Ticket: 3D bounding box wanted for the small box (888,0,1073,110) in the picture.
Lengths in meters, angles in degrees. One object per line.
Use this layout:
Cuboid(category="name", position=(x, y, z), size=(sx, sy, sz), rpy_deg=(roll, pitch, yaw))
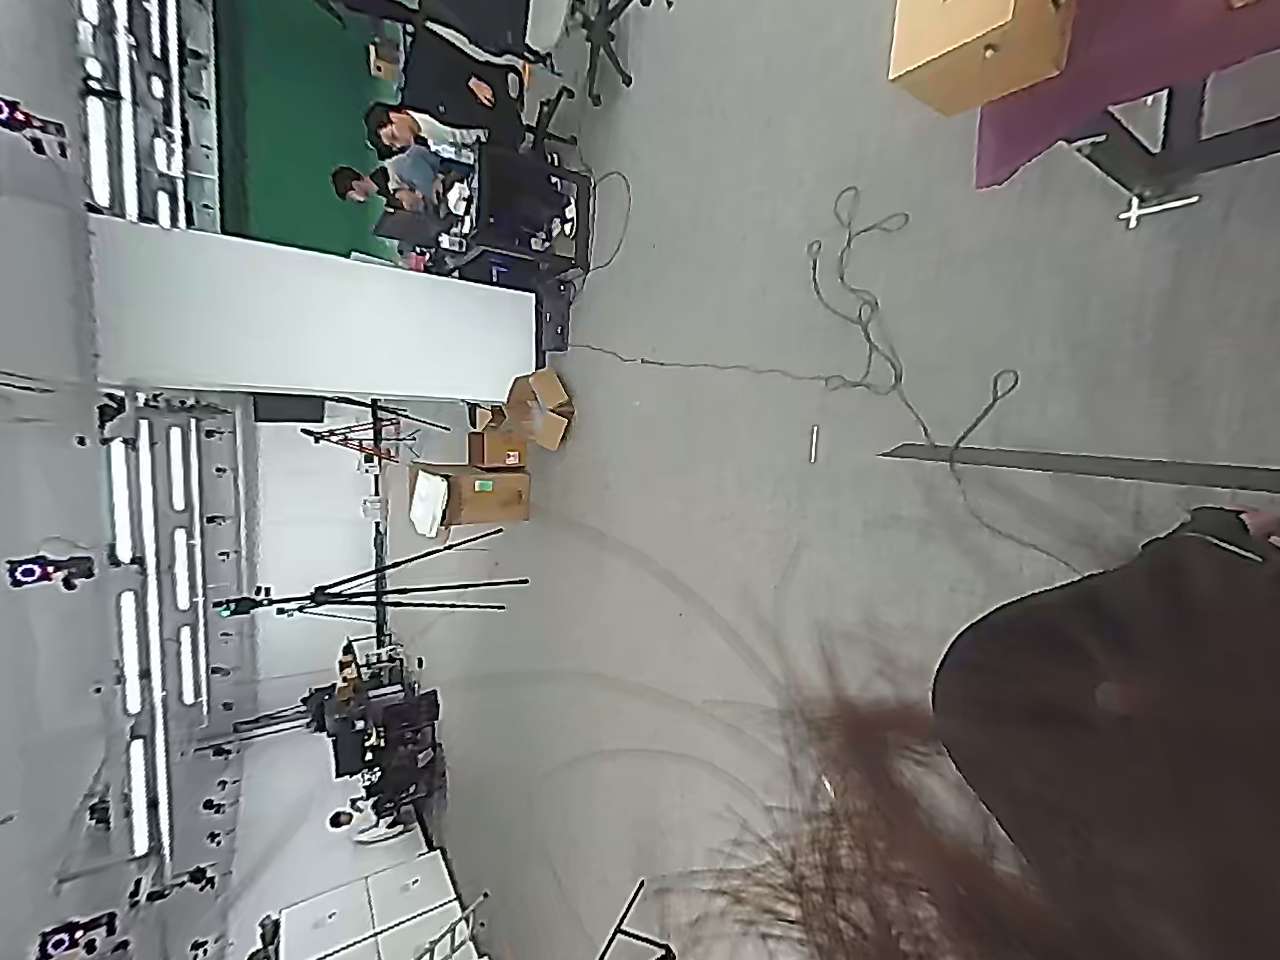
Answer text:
Cuboid(category="small box", position=(0.501, -0.687, 0.795), size=(0.179, 0.176, 0.168), rpy_deg=(14, 103, 54))
